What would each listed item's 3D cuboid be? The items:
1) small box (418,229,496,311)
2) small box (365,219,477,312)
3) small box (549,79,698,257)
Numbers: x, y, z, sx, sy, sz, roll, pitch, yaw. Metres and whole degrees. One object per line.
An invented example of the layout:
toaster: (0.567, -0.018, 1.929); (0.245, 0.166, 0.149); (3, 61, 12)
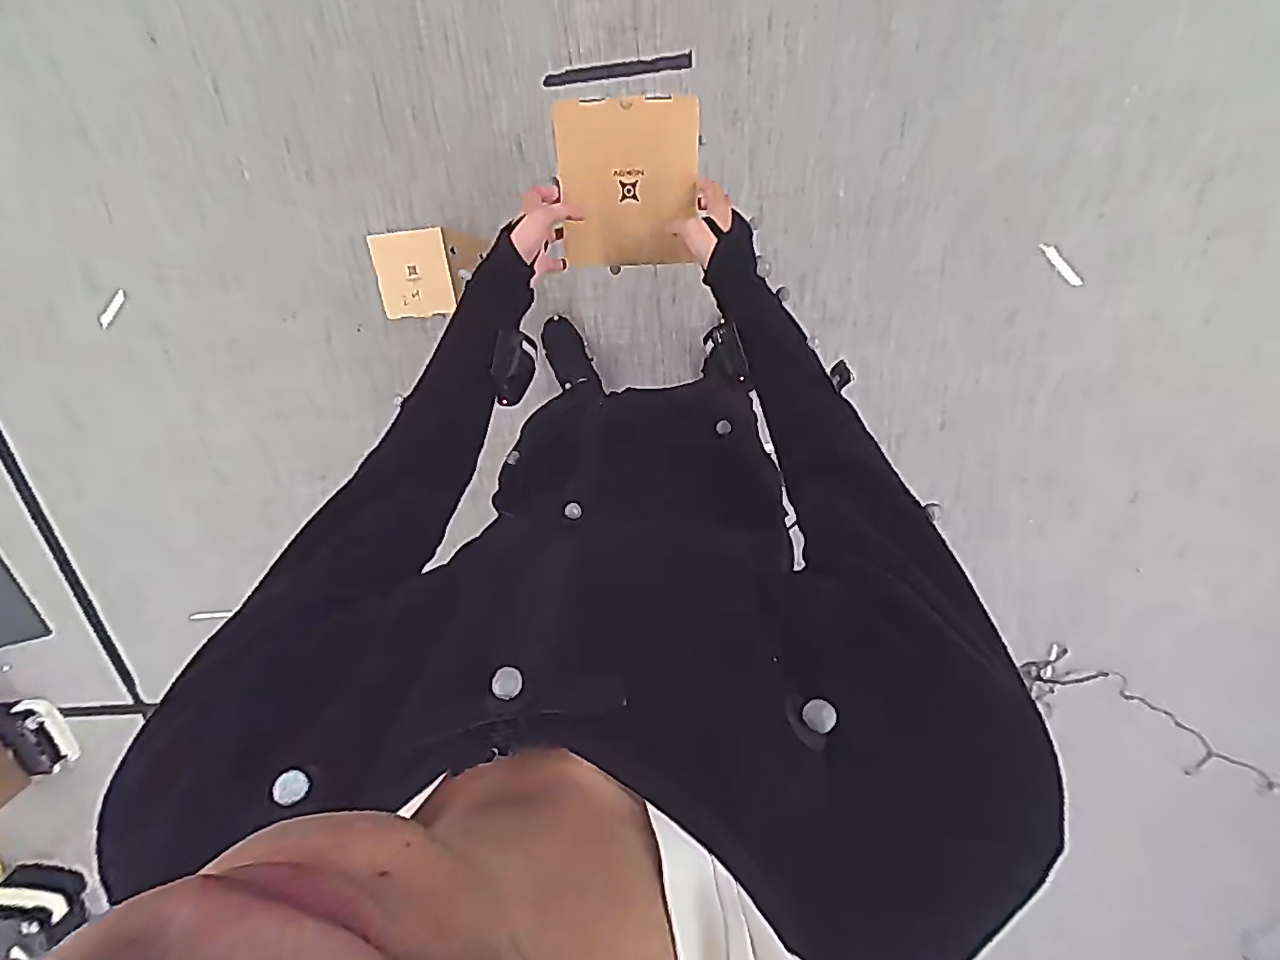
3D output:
small box: (-0.483, -0.535, 1.386); (0.168, 0.176, 0.179); (-4, 111, 4)
small box: (-0.488, -0.484, 1.230); (0.168, 0.176, 0.179); (-4, 111, 4)
small box: (-0.017, -0.387, 0.693); (0.168, 0.176, 0.179); (-3, 114, -1)
